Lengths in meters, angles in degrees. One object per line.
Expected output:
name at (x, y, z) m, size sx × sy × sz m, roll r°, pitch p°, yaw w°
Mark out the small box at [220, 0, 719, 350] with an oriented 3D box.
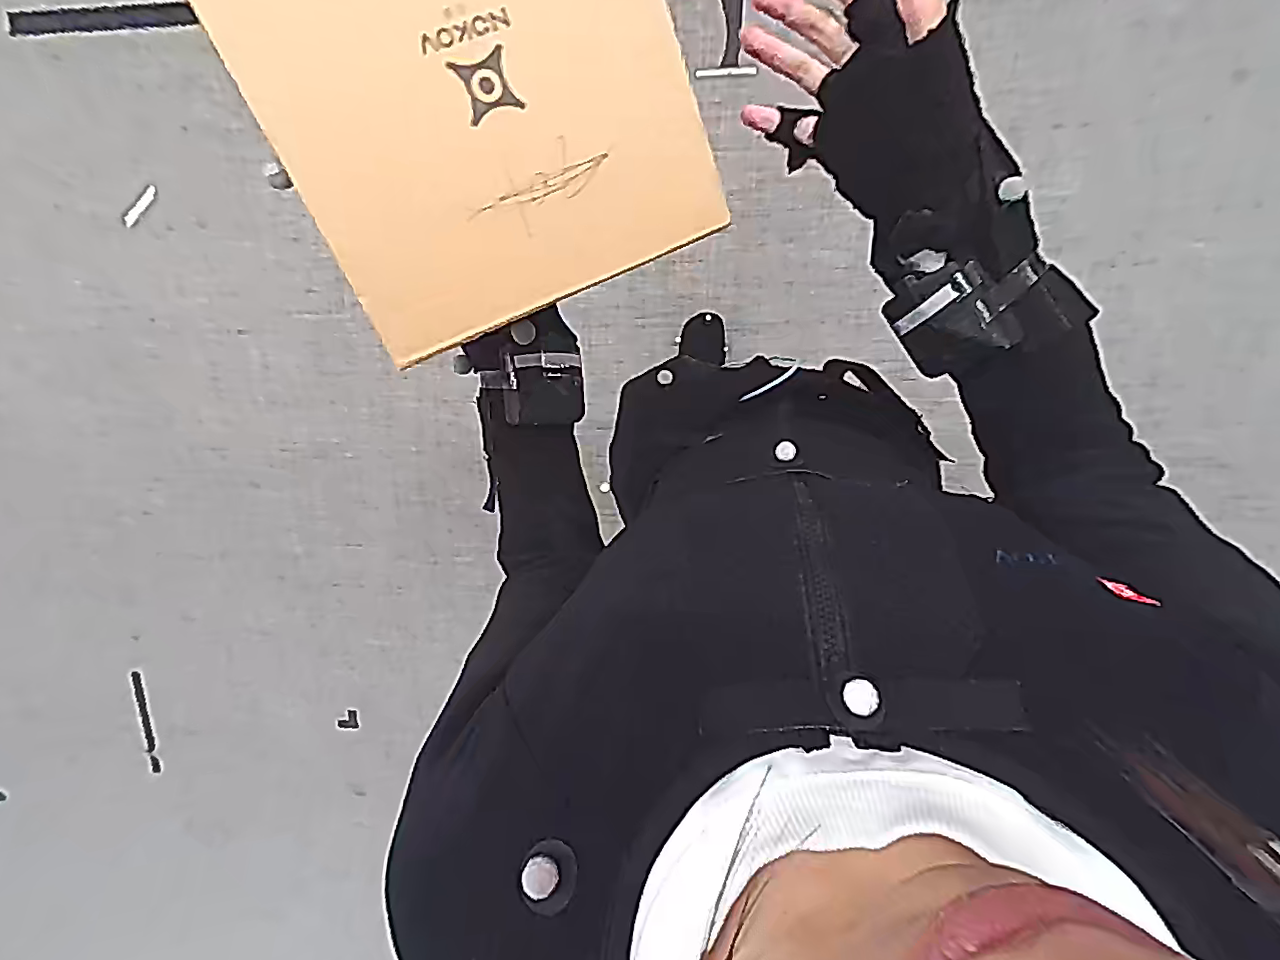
small box at (-0.086, -0.183, 0.297) m, size 0.168 × 0.176 × 0.179 m, roll -27°, pitch 111°, yaw -9°
